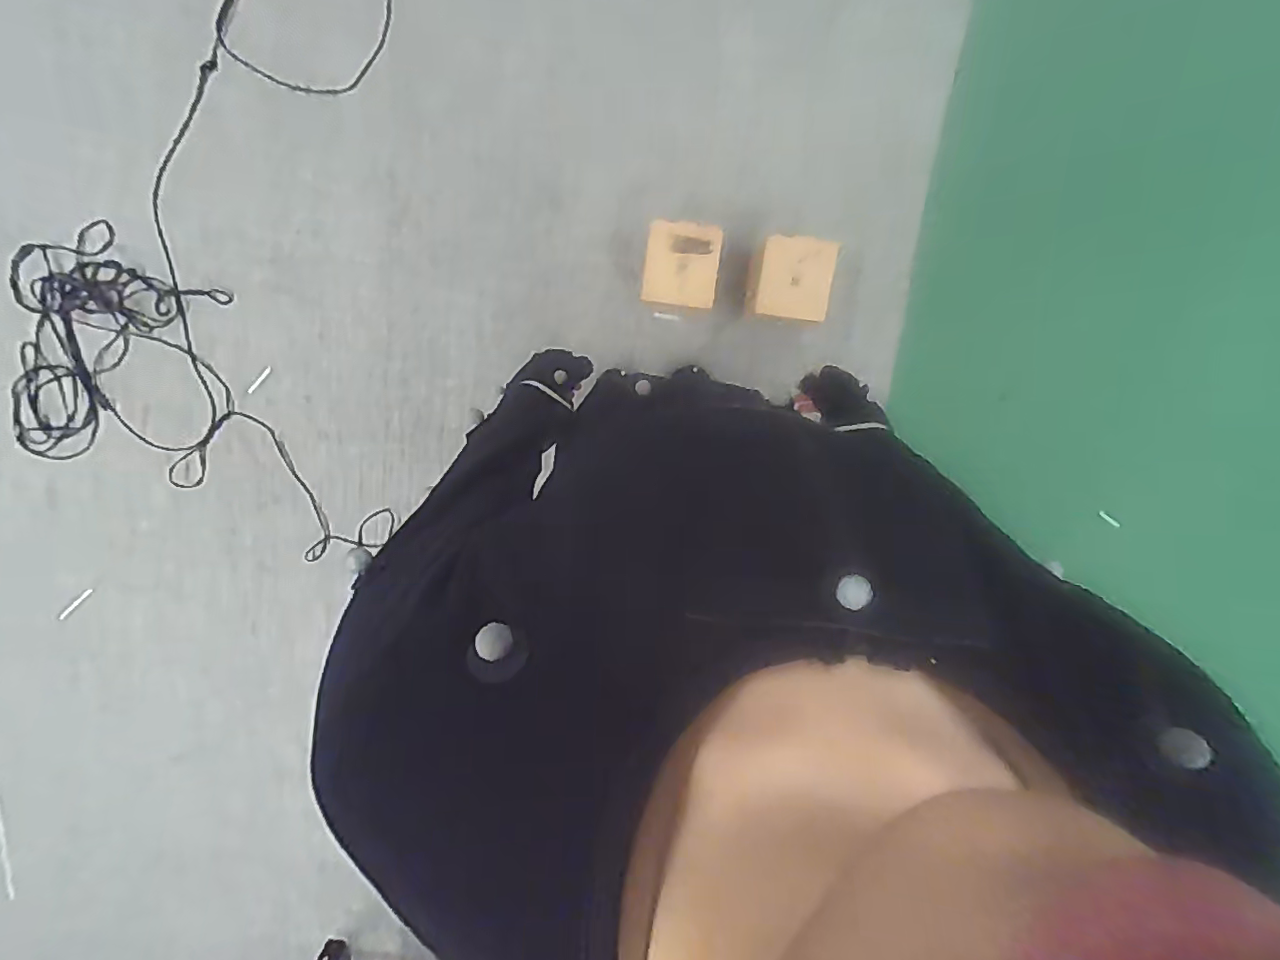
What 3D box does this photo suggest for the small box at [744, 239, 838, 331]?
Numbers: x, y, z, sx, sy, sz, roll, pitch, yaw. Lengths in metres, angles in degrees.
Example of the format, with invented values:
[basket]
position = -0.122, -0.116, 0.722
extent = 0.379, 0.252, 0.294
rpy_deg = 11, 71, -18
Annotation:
[small box]
position = 0.354, -0.461, 1.304
extent = 0.168, 0.176, 0.179
rpy_deg = 7, 101, -2
